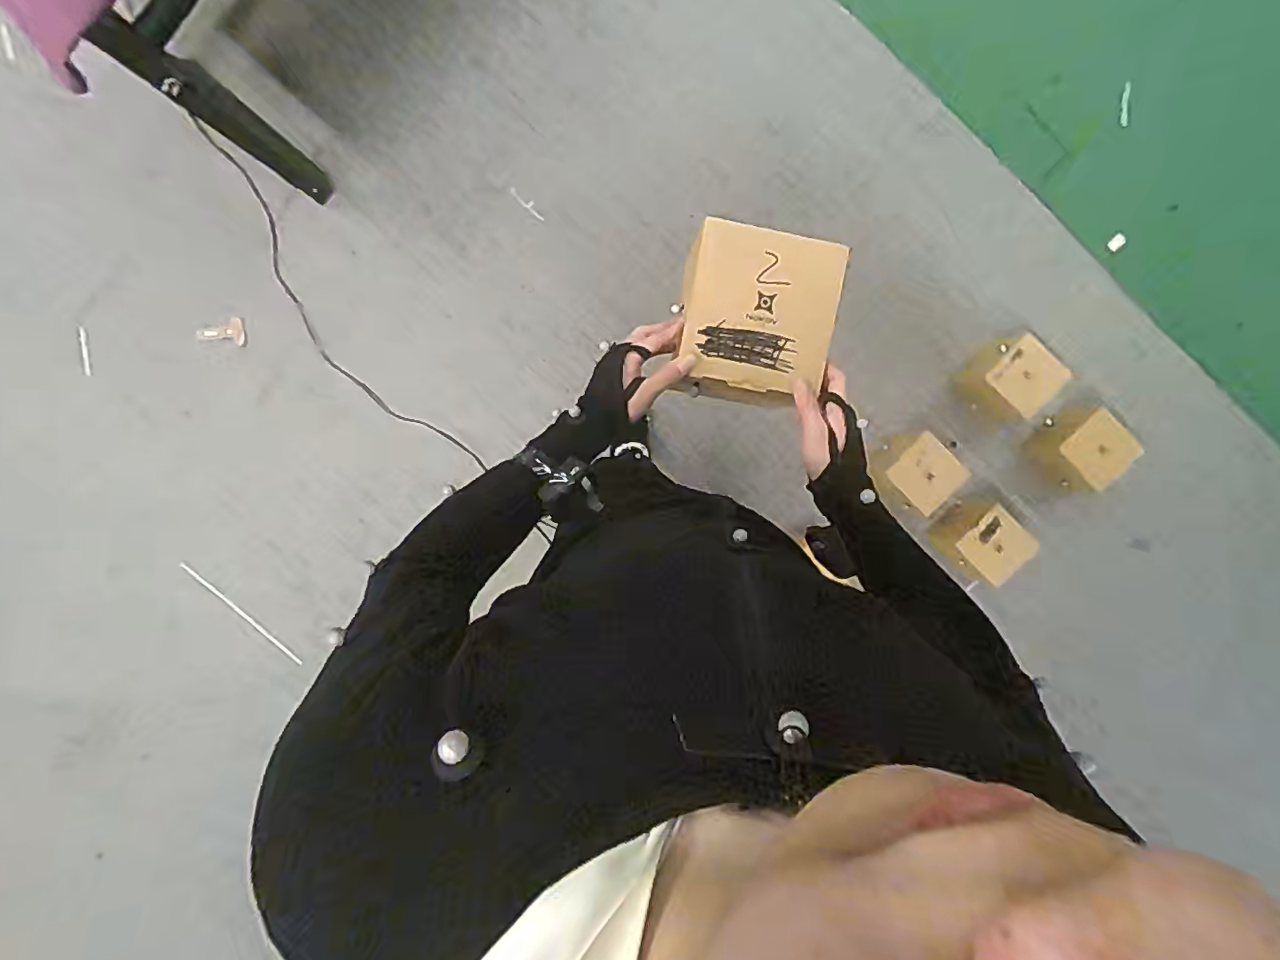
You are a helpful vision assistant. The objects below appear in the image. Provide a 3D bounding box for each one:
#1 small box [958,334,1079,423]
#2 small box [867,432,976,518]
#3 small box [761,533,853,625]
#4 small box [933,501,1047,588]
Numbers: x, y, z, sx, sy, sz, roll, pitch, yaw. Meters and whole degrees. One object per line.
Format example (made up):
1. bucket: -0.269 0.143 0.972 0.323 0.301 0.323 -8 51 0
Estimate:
1. small box: 1.035 -0.275 1.492 0.179 0.176 0.168 43 94 -3
2. small box: 0.784 -0.022 1.523 0.179 0.176 0.168 45 95 -2
3. small box: 0.472 0.278 1.563 0.179 0.176 0.168 -44 93 6
4. small box: 0.981 0.174 1.534 0.168 0.176 0.179 -45 93 5
